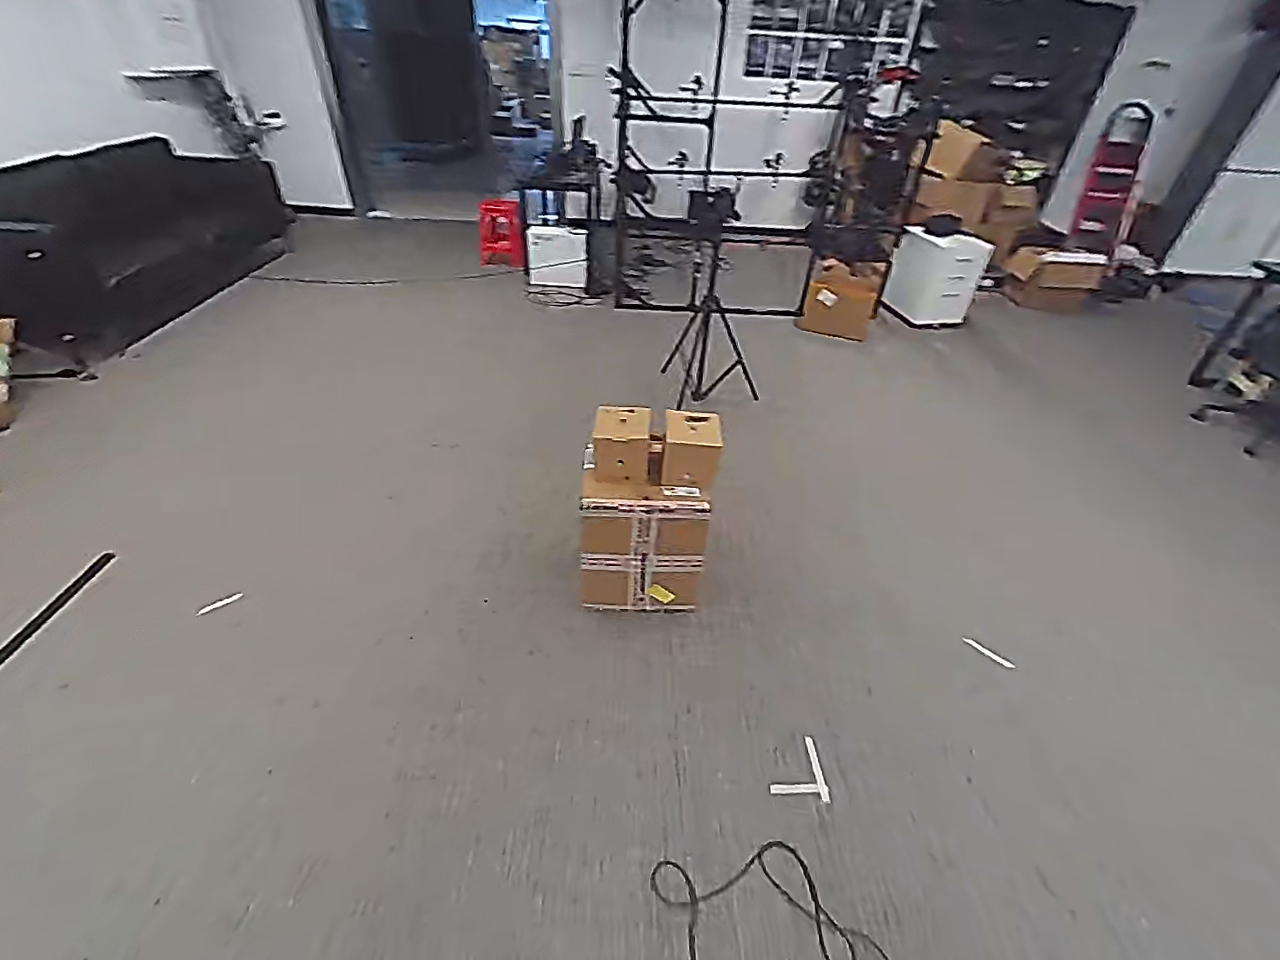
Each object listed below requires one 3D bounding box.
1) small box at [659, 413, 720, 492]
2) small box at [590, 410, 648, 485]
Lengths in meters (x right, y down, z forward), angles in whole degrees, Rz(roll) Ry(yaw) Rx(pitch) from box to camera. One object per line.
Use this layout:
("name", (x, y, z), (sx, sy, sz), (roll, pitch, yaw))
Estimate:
("small box", (0.148, -0.087, 1.689), (0.168, 0.176, 0.179), (4, 40, -2))
("small box", (-0.061, -0.101, 1.686), (0.168, 0.176, 0.179), (2, 40, 1))
